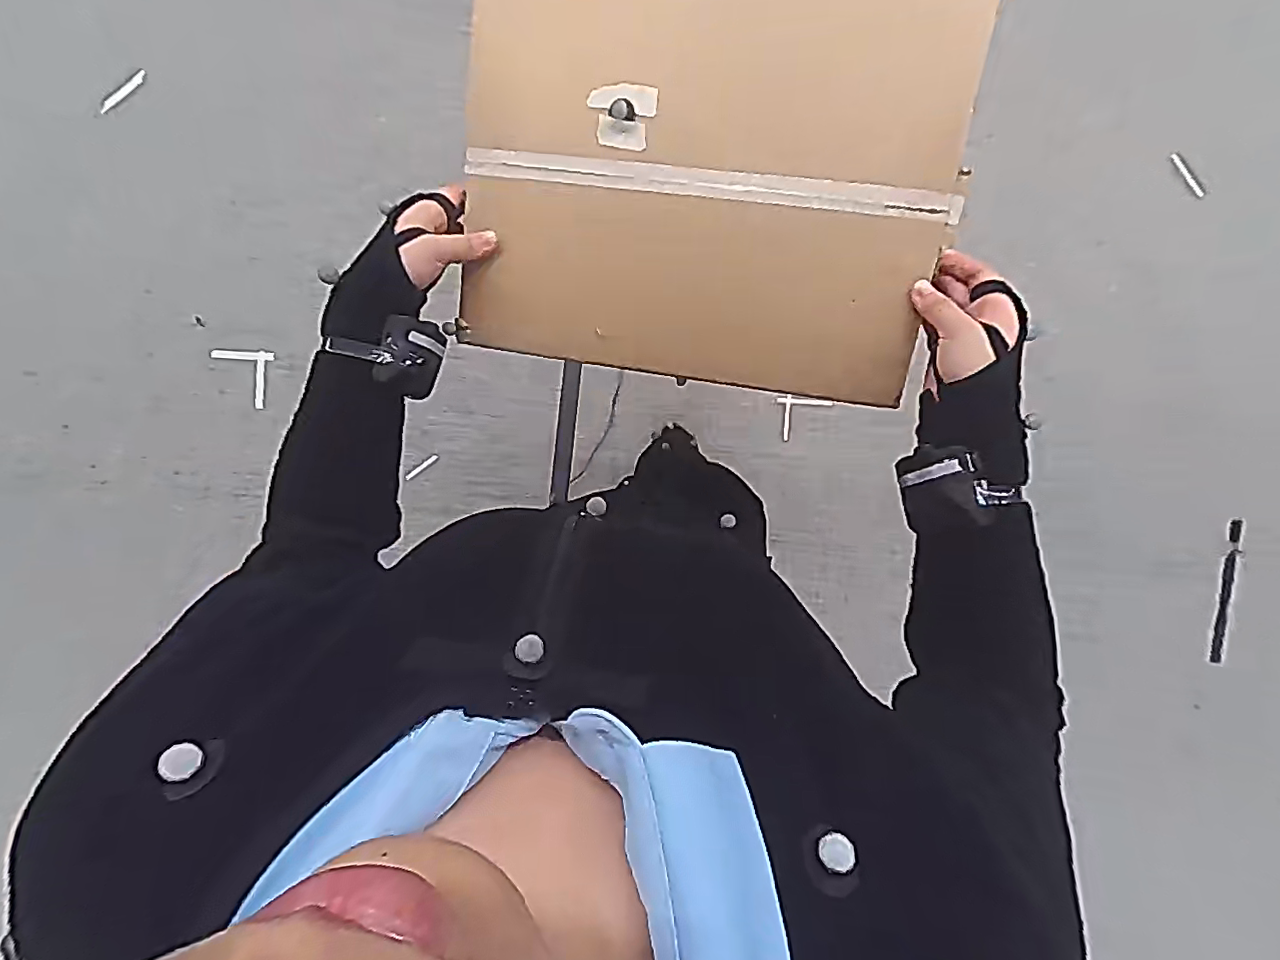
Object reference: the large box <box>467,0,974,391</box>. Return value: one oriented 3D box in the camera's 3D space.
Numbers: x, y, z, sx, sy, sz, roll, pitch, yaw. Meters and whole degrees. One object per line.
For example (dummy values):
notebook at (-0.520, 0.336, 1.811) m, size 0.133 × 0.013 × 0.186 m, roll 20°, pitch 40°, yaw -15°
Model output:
large box at (0.069, -0.285, 0.606) m, size 0.408 × 0.320 × 0.320 m, roll 9°, pitch 103°, yaw 8°
